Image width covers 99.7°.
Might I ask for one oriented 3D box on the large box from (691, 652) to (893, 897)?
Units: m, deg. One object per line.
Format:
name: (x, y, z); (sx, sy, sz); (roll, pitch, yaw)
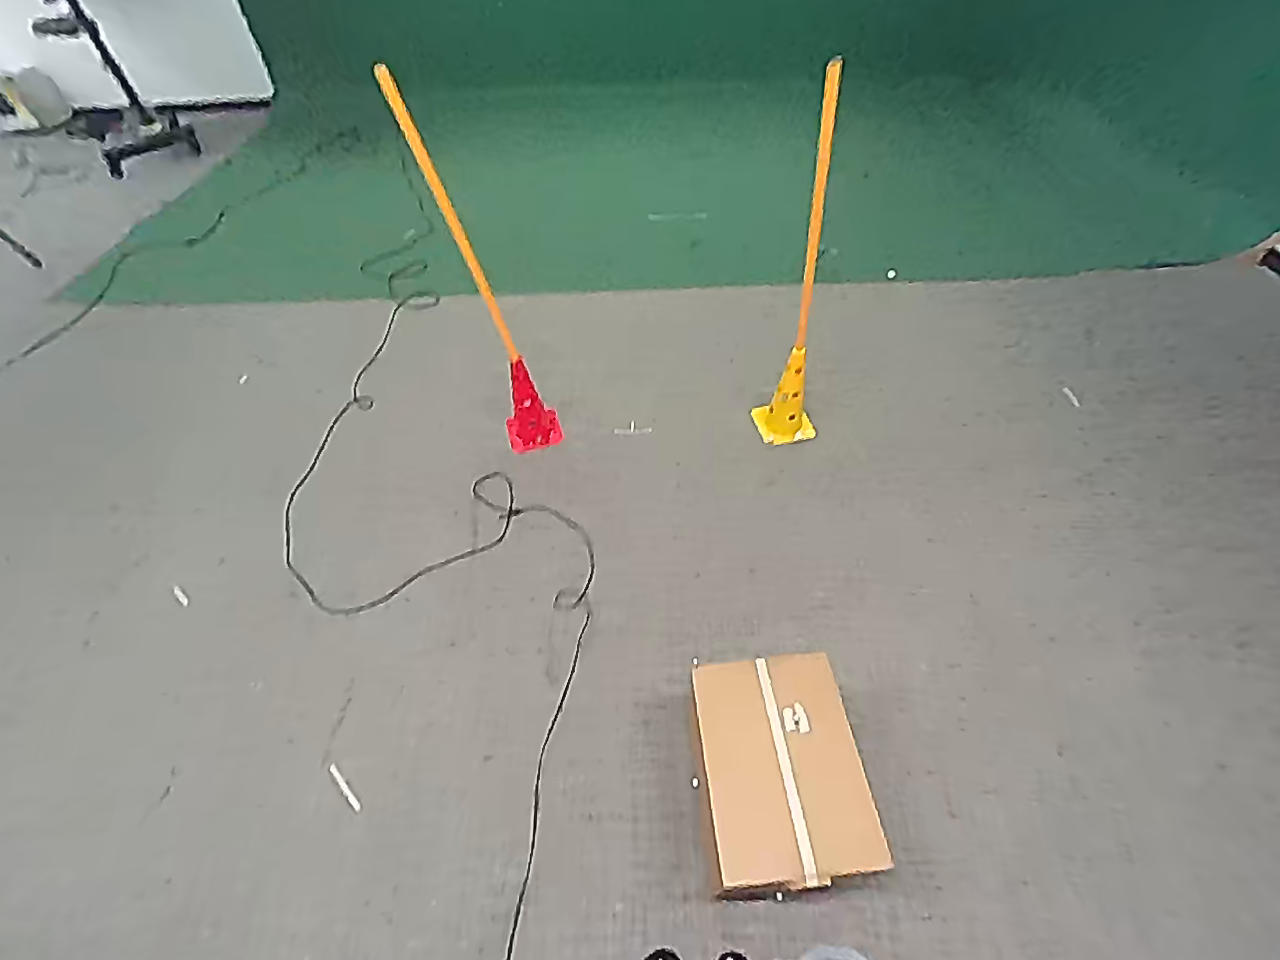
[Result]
large box: (0.296, 0.655, 1.209); (0.320, 0.320, 0.408); (-5, 49, -2)
